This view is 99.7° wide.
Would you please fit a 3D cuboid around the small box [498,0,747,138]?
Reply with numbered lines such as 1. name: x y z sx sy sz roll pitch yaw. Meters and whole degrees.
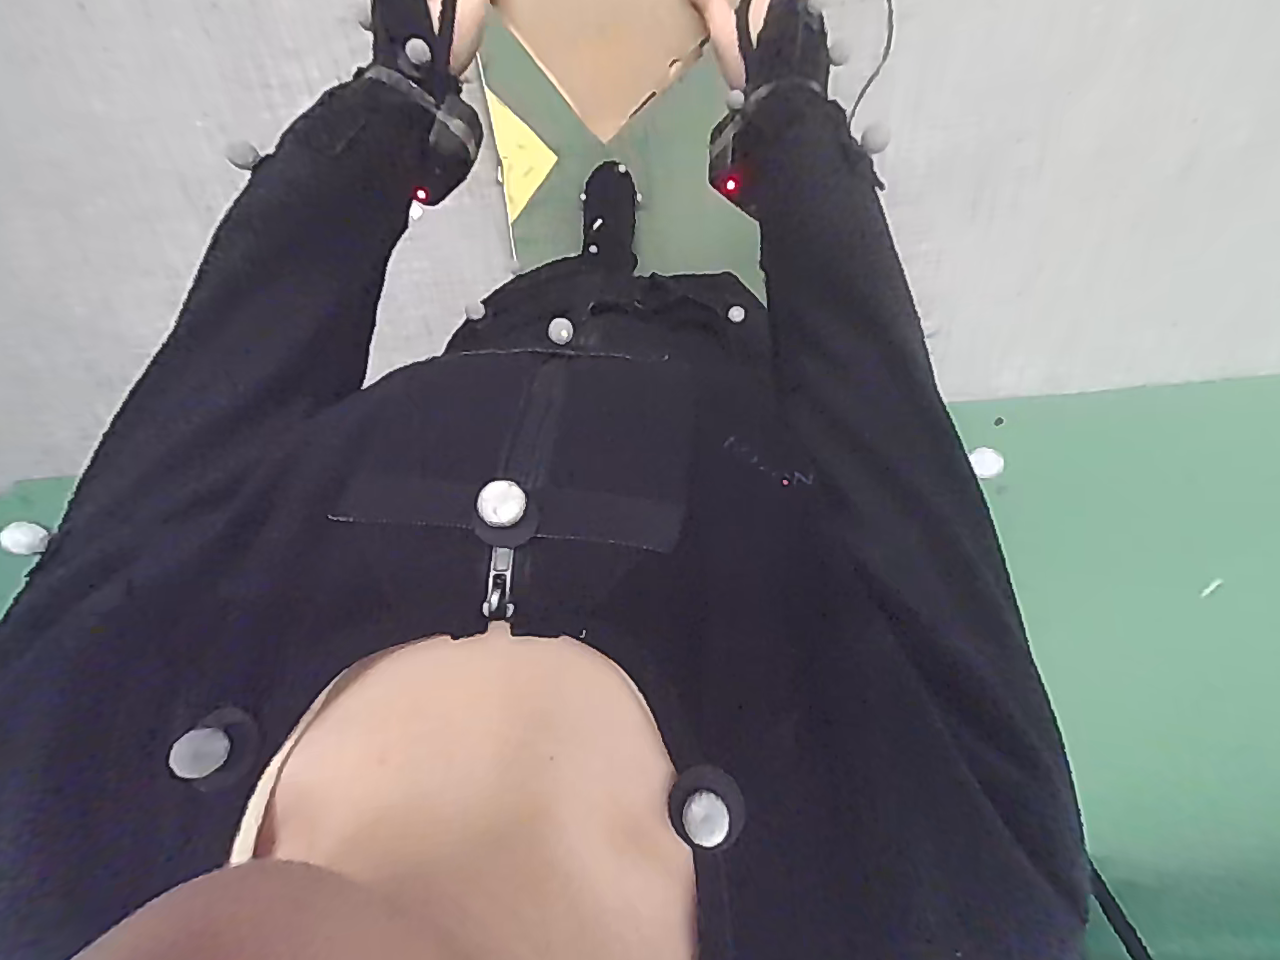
1. small box: -0.022 -0.436 0.448 0.168 0.176 0.179 -32 124 26
